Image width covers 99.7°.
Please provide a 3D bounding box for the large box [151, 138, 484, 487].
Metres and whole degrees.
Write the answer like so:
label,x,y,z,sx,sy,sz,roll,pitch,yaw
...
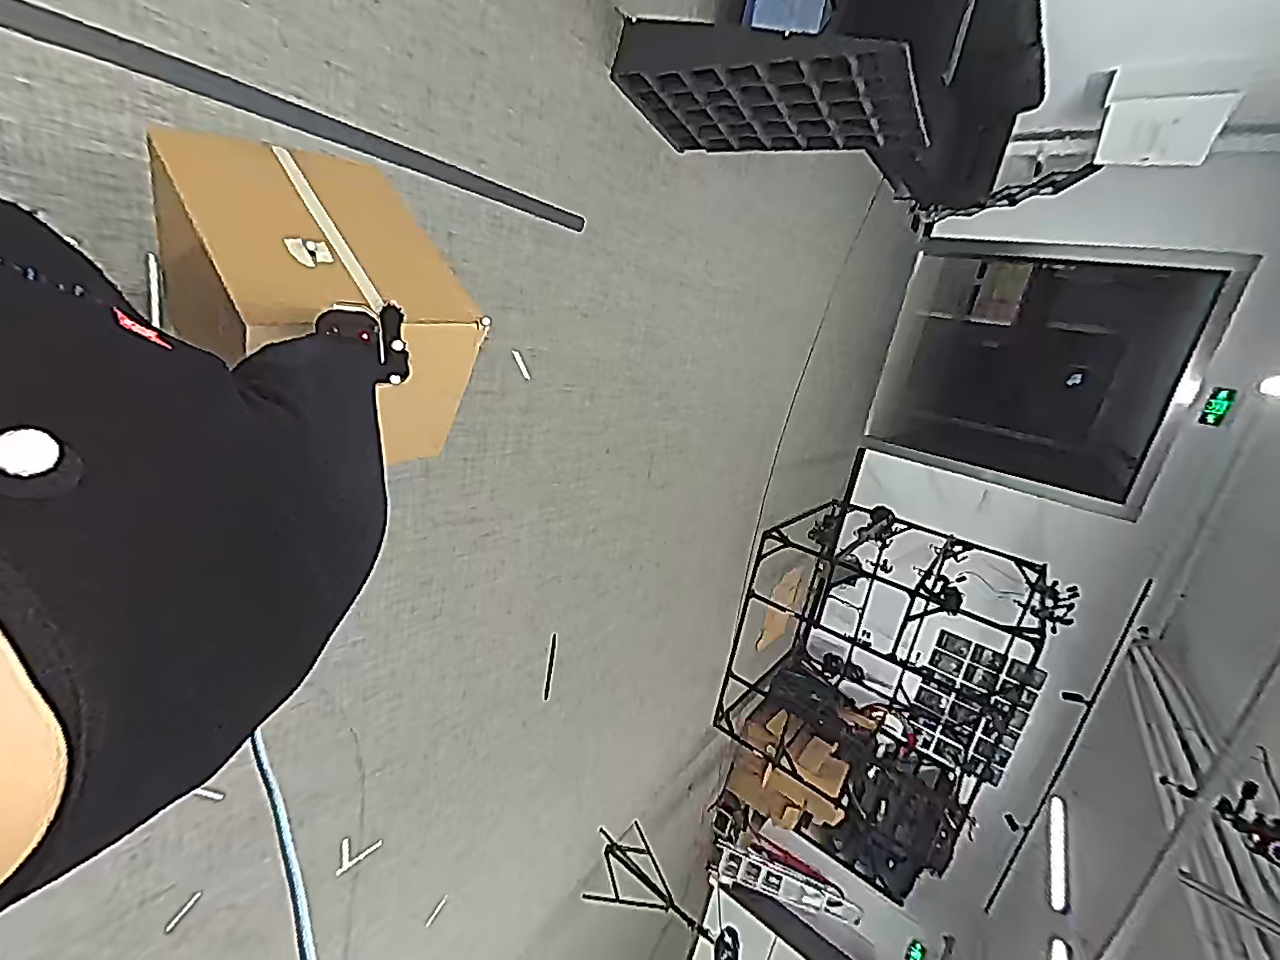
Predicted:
label,x,y,z,sx,sy,sz,roll,pitch,yaw
large box,-0.528,-0.259,0.884,0.320,0.408,0.320,-19,156,-45
